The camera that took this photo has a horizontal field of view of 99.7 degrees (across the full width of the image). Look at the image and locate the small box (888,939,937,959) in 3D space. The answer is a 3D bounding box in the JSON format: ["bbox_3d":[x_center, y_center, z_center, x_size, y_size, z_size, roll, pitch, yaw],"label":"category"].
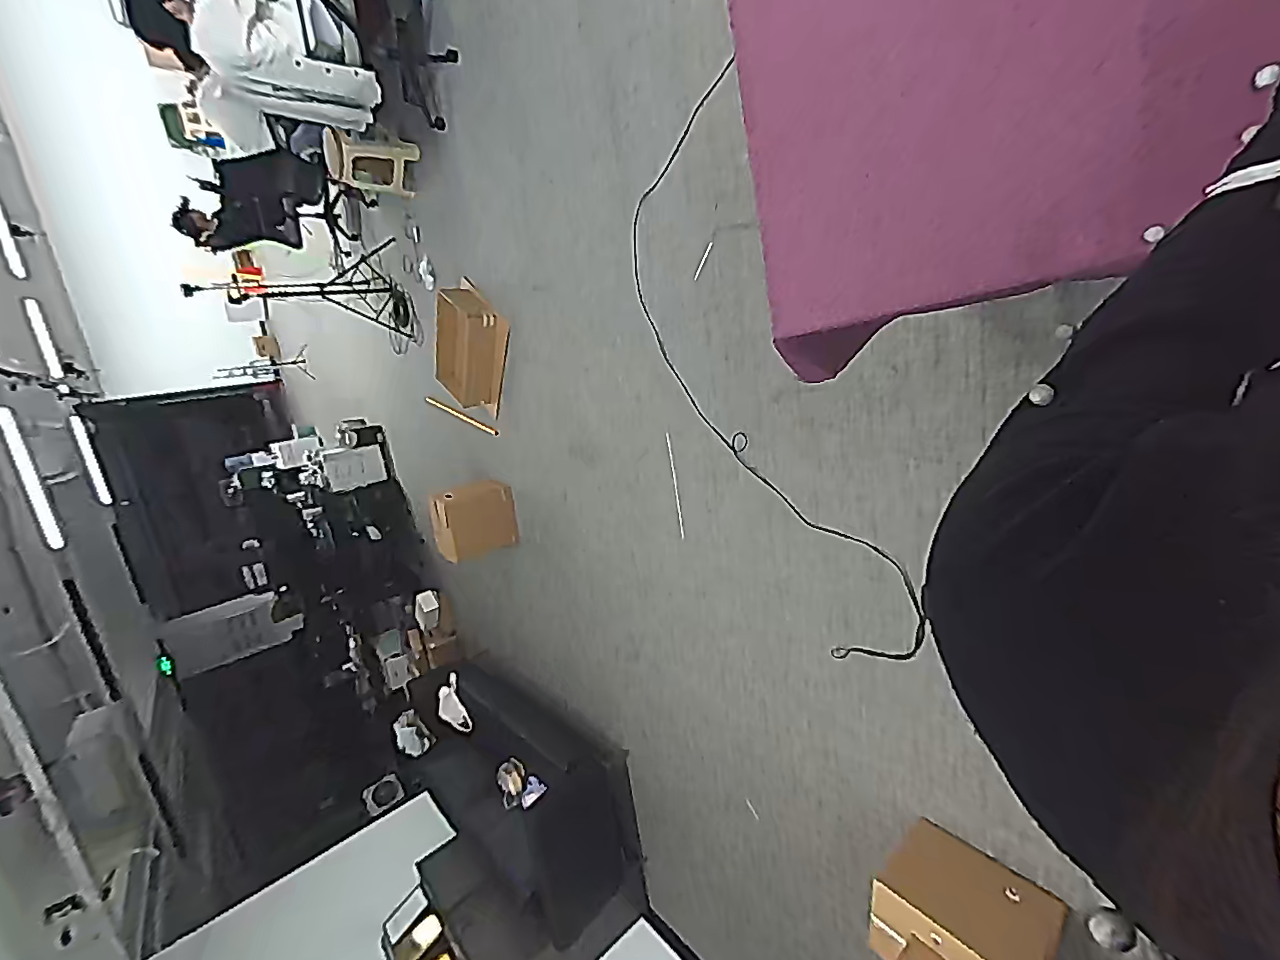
[{"bbox_3d":[0.768,1.428,1.491,0.179,0.176,0.168,19,121,46],"label":"small box"}]
